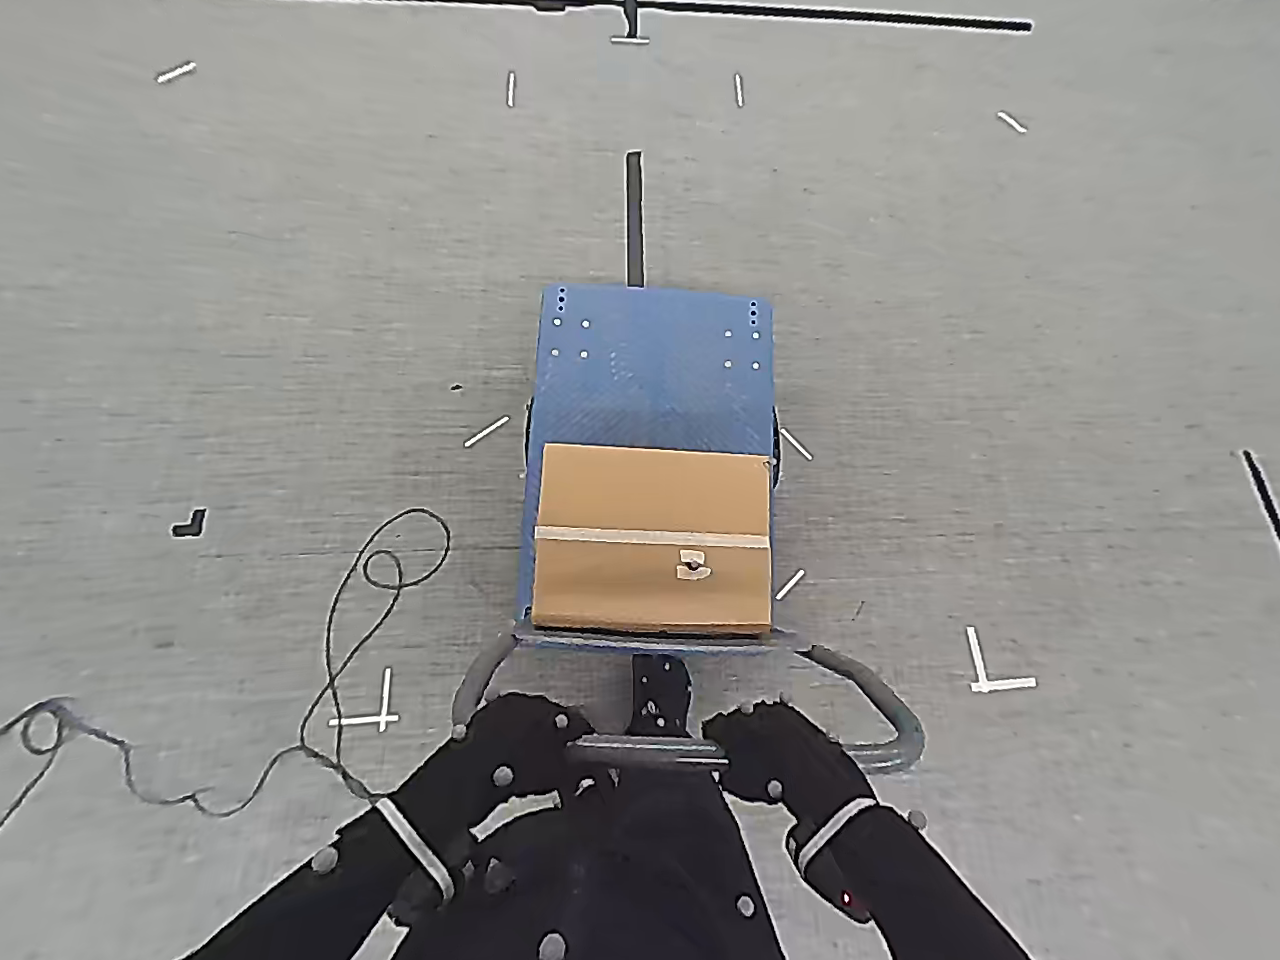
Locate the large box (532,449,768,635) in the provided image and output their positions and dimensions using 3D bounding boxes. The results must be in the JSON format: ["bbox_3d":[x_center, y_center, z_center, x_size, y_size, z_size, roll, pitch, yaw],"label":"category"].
[{"bbox_3d":[0.009,0.134,1.073,0.408,0.320,0.320,3,79,-4],"label":"large box"}]
